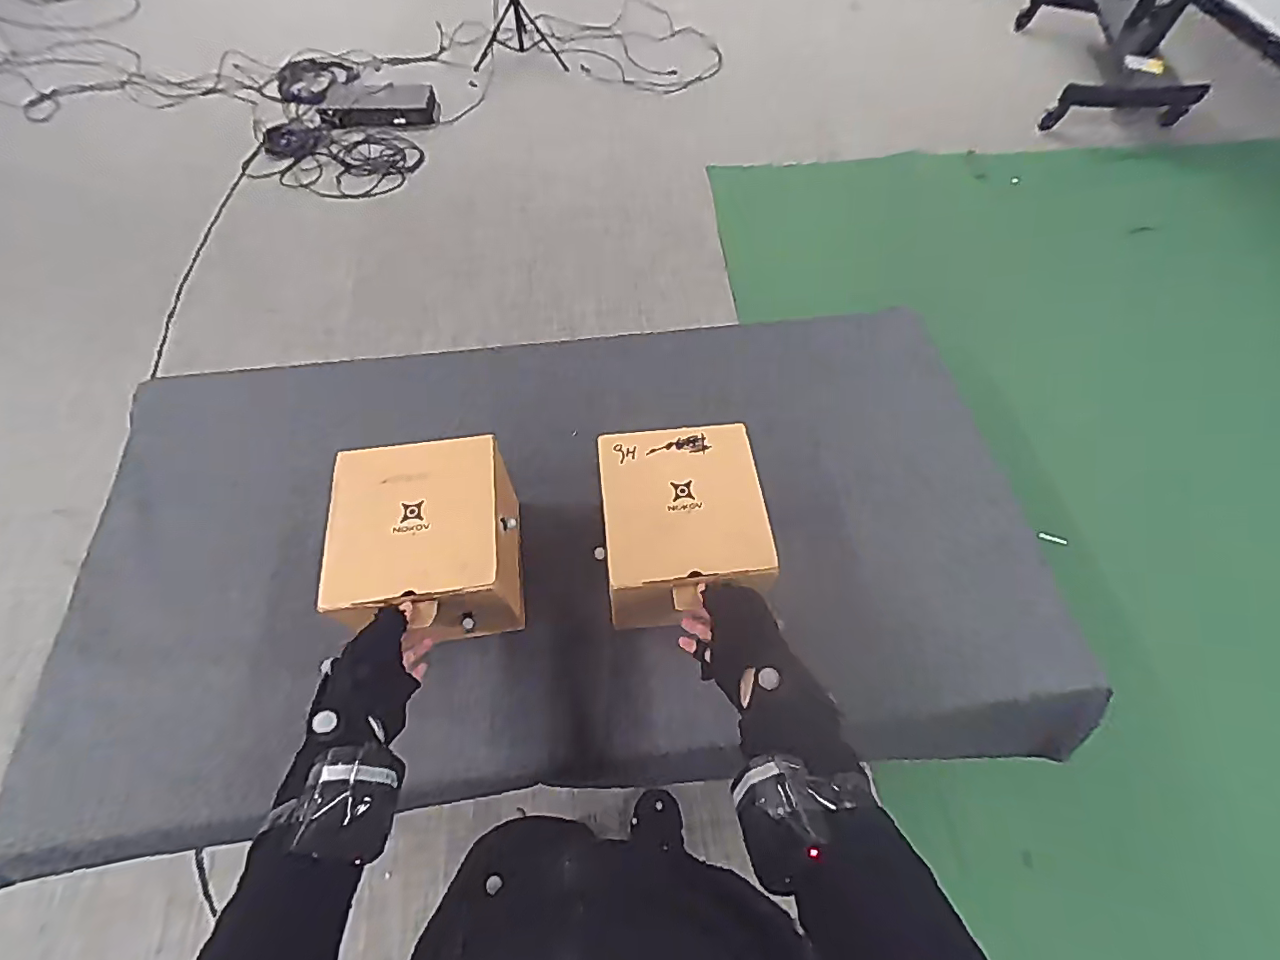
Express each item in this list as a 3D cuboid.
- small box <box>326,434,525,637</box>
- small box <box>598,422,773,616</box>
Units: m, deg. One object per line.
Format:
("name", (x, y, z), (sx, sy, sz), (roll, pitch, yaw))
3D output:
("small box", (-0.230, 0.073, 0.622), (0.168, 0.176, 0.179), (-7, 61, -7))
("small box", (0.041, 0.054, 0.634), (0.168, 0.176, 0.179), (-5, 62, -5))
